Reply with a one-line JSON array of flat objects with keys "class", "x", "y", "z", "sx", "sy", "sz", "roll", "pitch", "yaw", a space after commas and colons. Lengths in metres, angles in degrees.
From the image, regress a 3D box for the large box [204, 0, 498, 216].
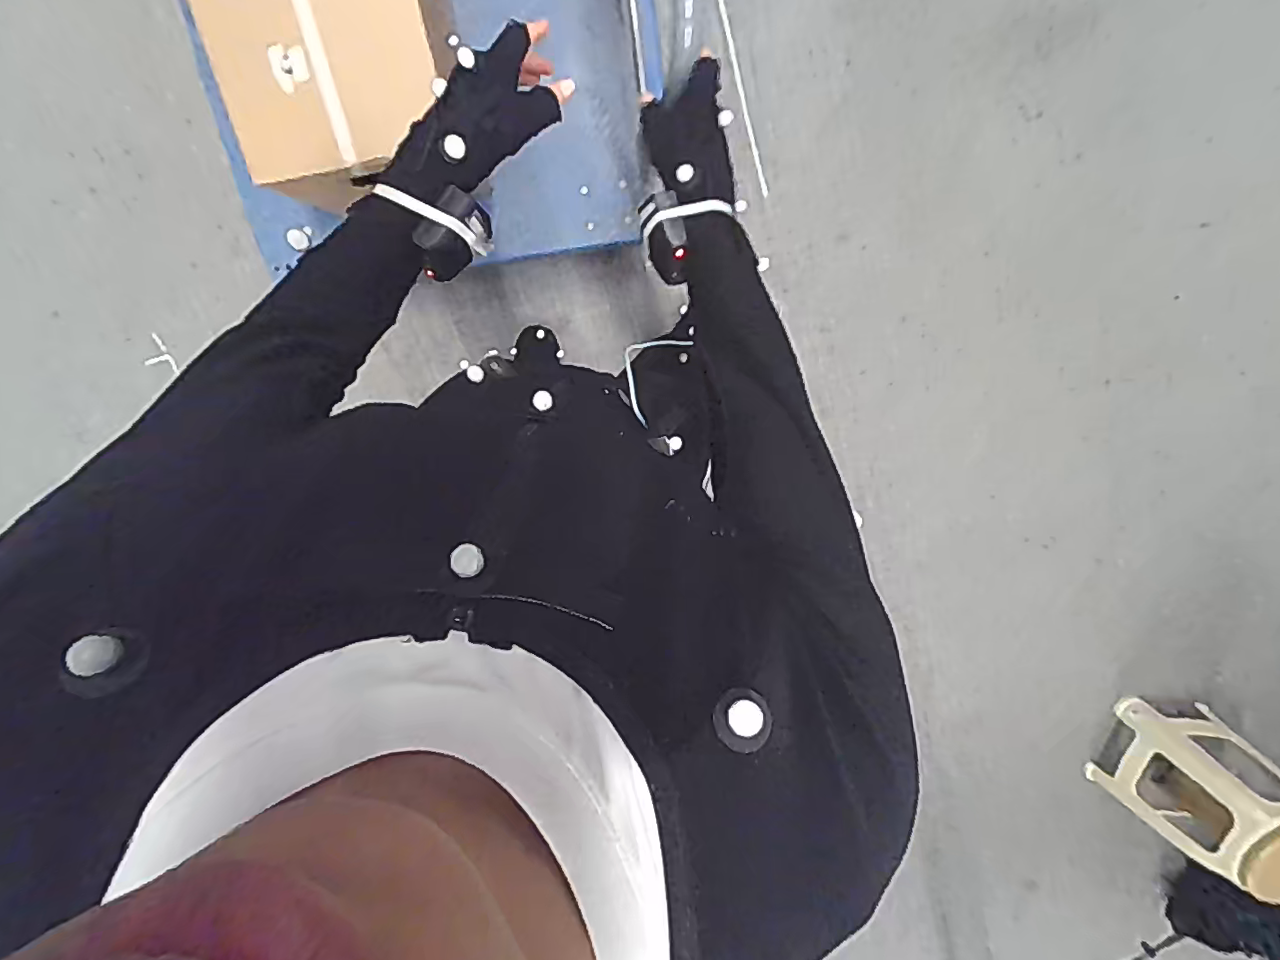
[{"class": "large box", "x": -0.466, "y": -0.711, "z": 0.914, "sx": 0.320, "sy": 0.320, "sz": 0.408, "roll": -12, "pitch": 109, "yaw": 1}]
